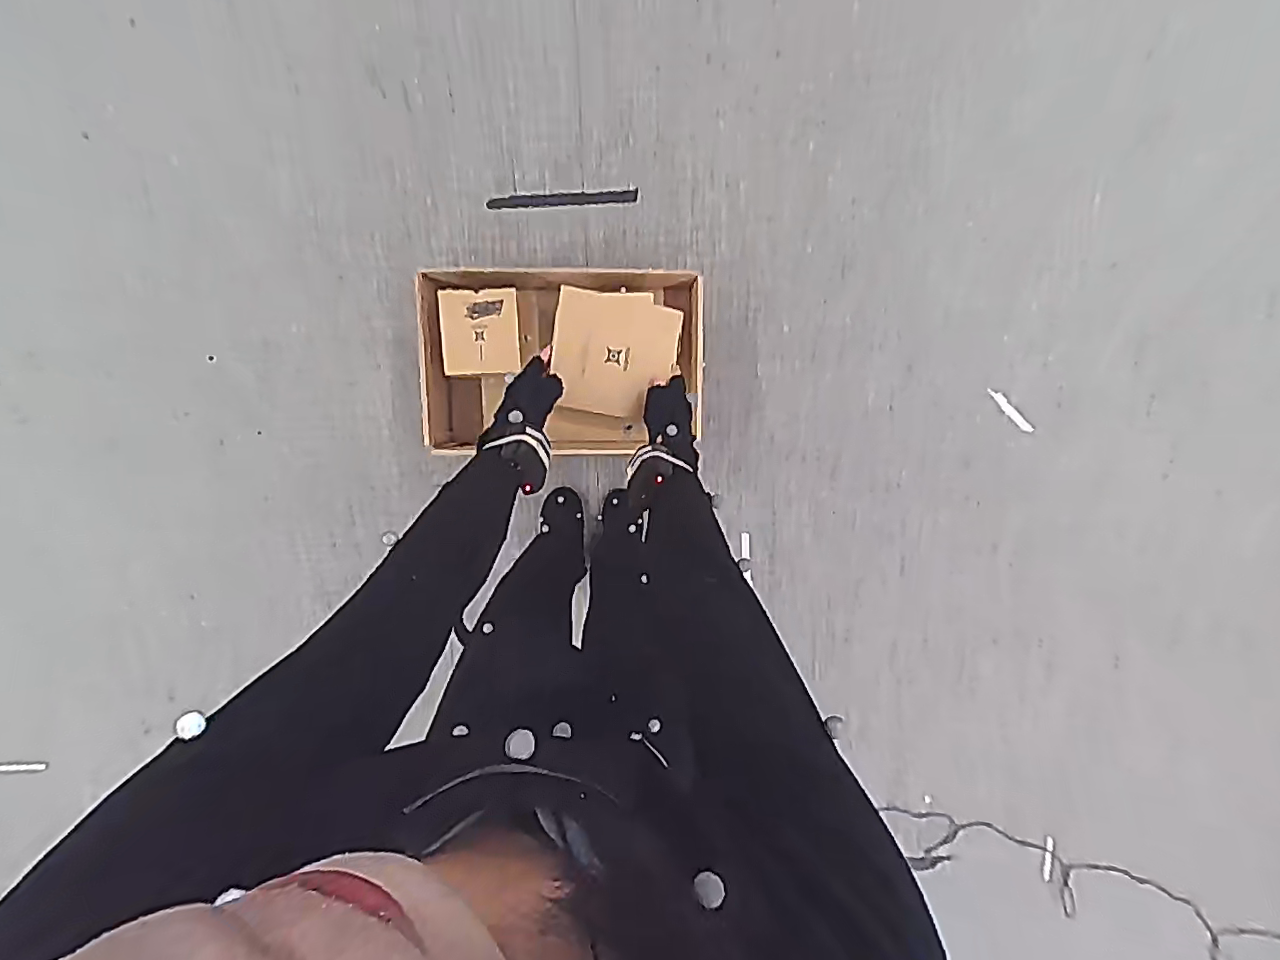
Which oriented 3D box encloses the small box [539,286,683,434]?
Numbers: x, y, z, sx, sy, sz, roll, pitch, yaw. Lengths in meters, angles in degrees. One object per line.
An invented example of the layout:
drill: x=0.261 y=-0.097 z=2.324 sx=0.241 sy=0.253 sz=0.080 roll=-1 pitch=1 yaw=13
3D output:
small box: x=-0.051 y=-0.166 z=0.810 sx=0.179 sy=0.176 sz=0.168 roll=8 pitch=87 yaw=-12
